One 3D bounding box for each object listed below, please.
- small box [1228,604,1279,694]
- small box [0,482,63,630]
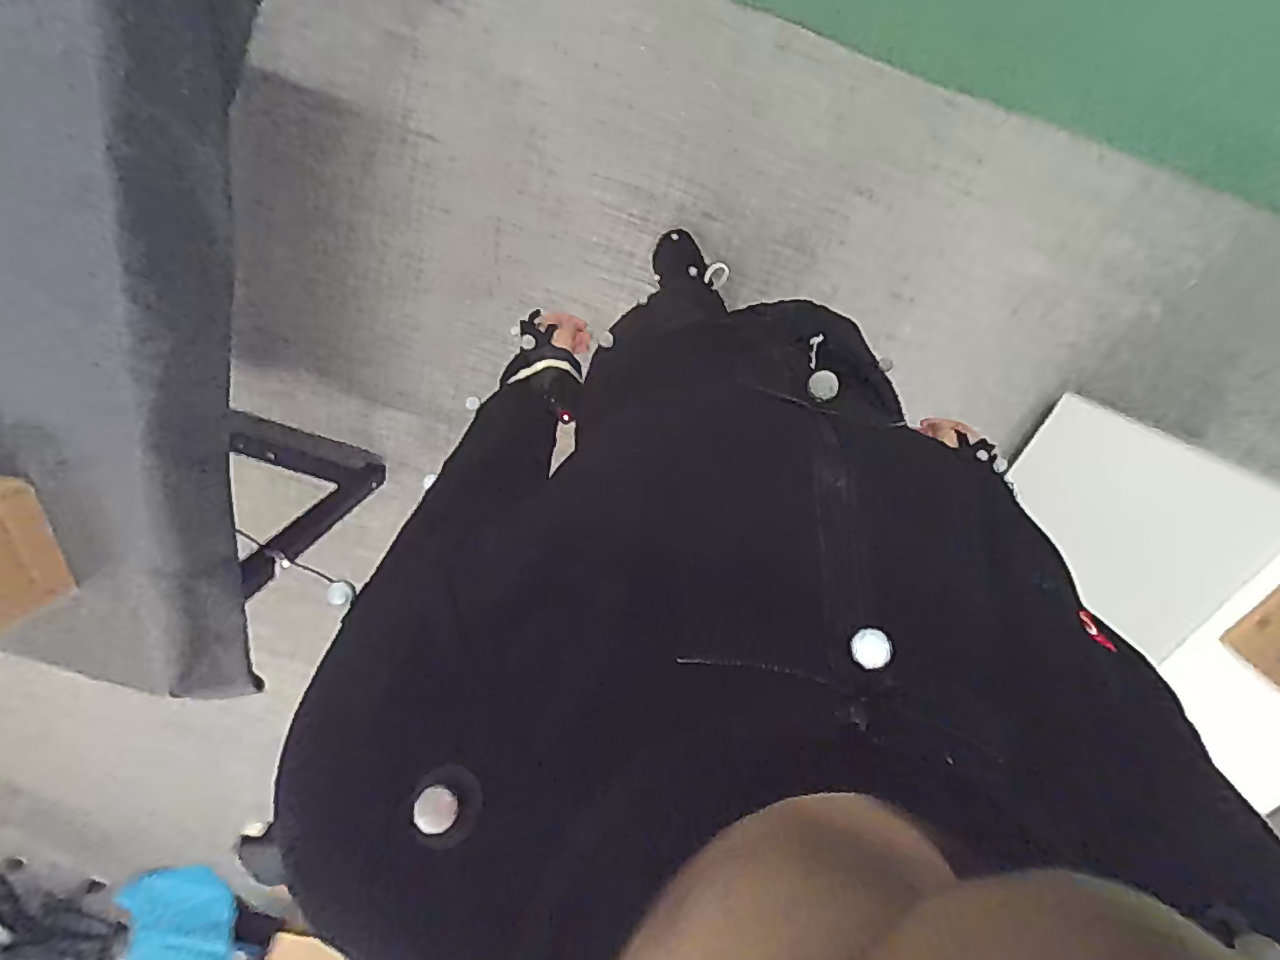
[{"bbox_3d":[0.967,0.249,0.709,0.179,0.176,0.168,20,116,-6],"label":"small box"},{"bbox_3d":[-0.879,0.107,0.657,0.168,0.176,0.179,7,114,2],"label":"small box"}]
